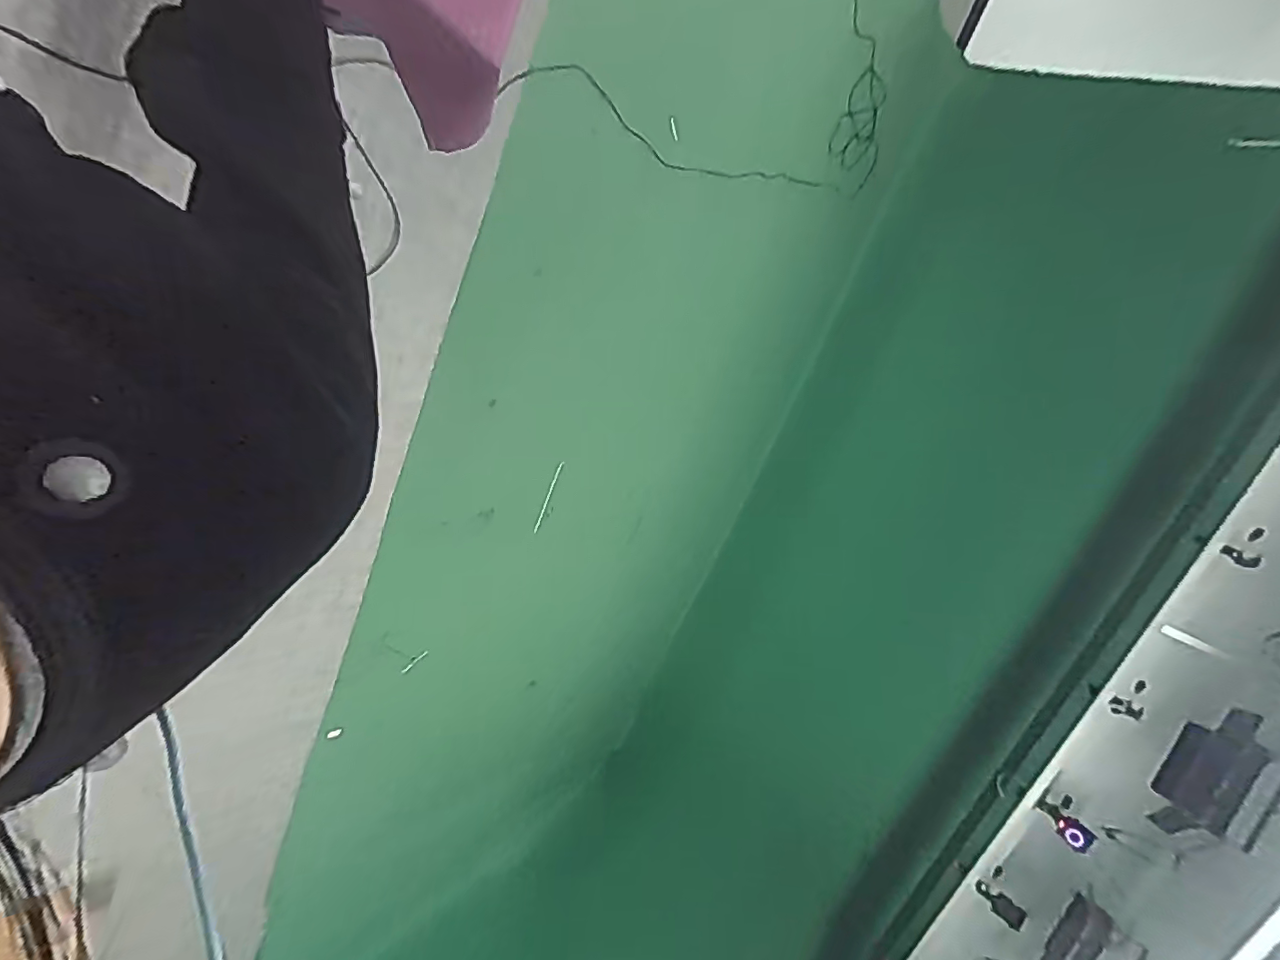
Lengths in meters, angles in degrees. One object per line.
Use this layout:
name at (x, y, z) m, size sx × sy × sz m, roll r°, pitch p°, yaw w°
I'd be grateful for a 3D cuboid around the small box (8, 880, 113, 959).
small box at (-1.649, 1.304, 1.535) m, size 0.179 × 0.176 × 0.168 m, roll -1°, pitch 117°, yaw -57°
